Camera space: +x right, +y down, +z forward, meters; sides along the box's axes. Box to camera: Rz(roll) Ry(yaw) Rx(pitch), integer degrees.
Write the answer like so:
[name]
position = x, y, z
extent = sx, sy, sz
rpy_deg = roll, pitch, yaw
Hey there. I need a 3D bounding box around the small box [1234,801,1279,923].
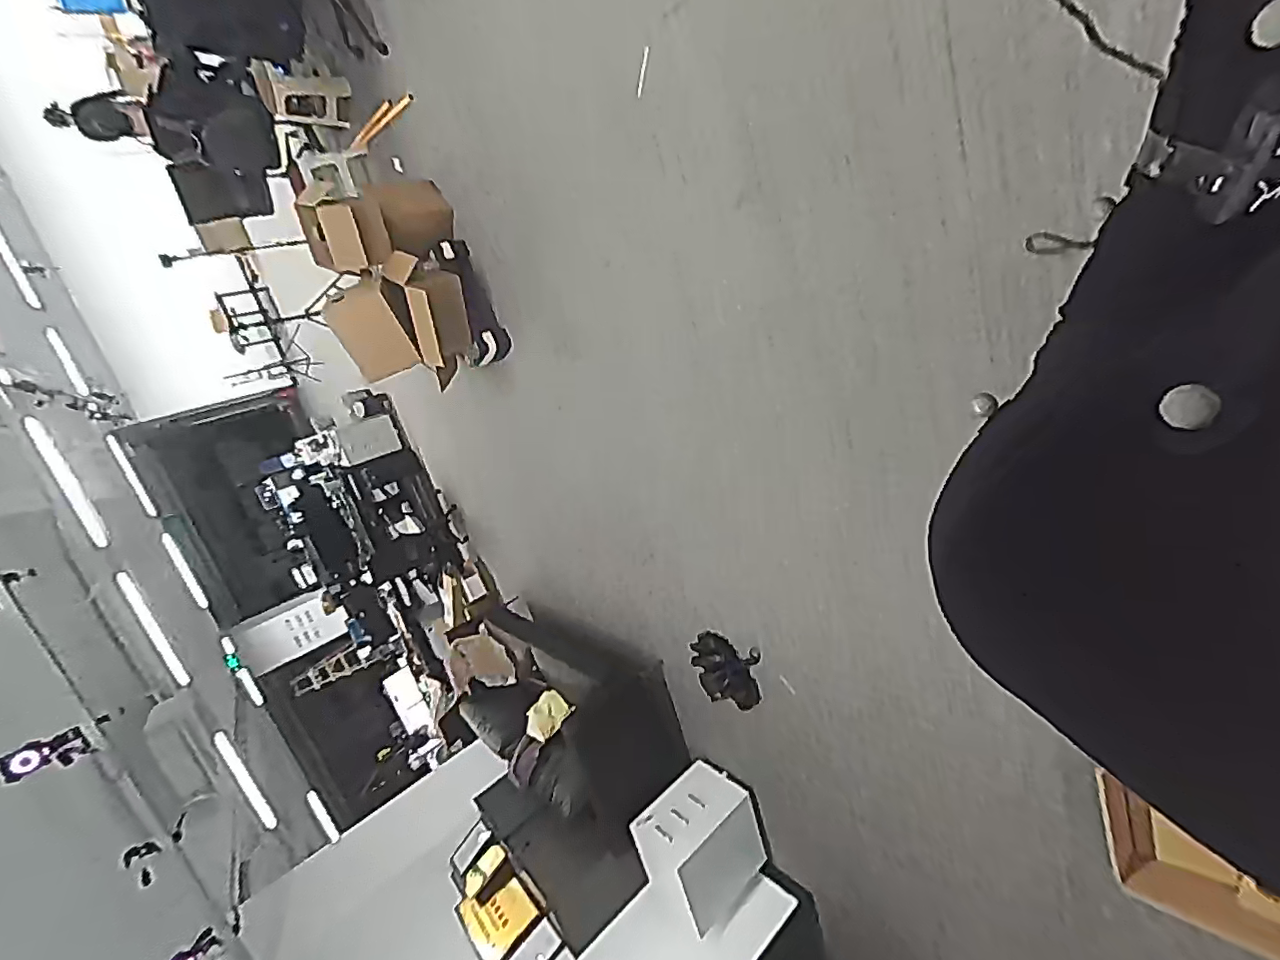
[small box]
position = 1.372, 0.805, 1.111
extent = 0.179, 0.176, 0.168
rpy_deg = -2, 112, 55
